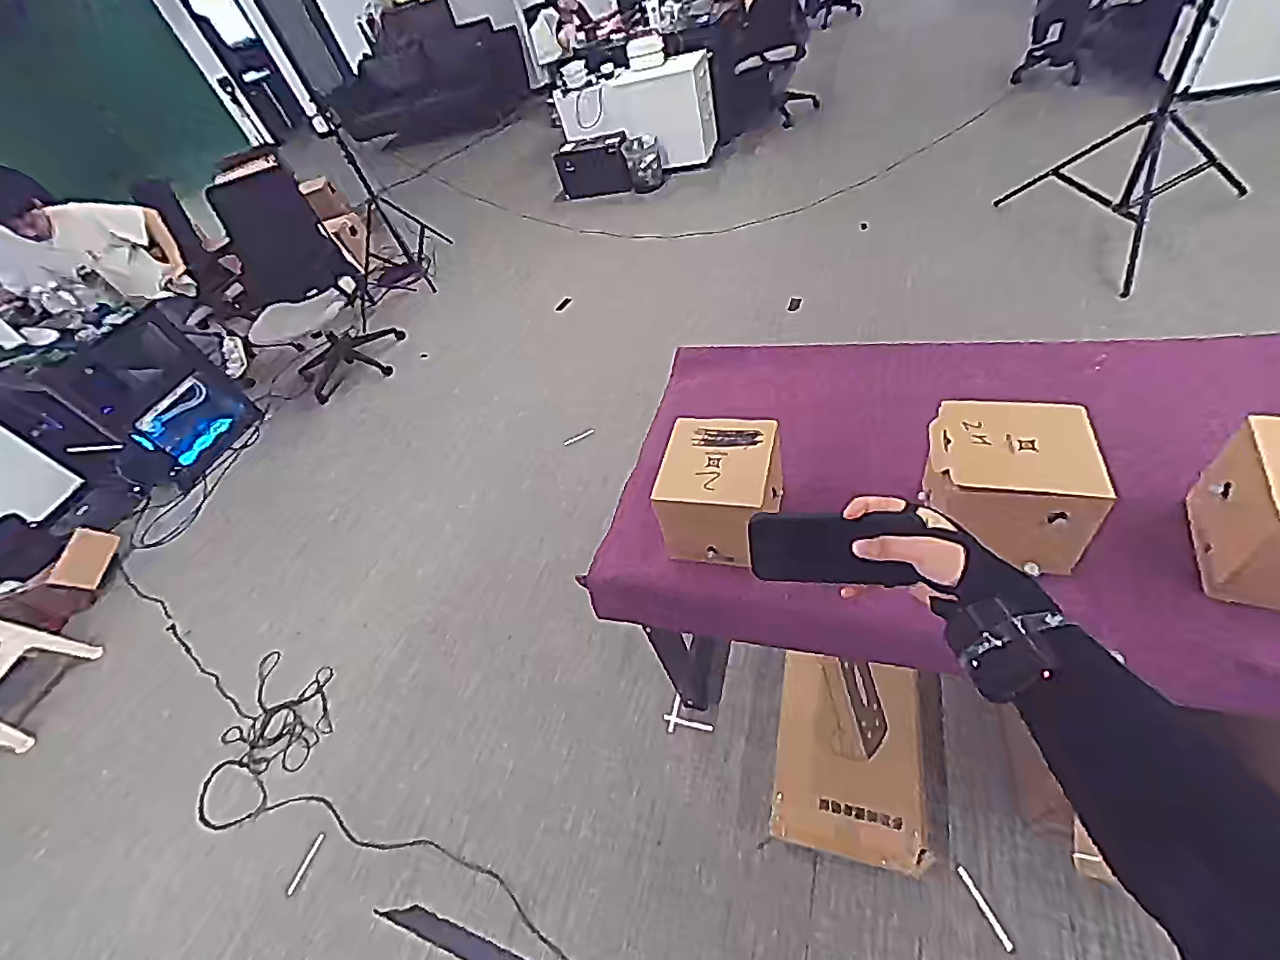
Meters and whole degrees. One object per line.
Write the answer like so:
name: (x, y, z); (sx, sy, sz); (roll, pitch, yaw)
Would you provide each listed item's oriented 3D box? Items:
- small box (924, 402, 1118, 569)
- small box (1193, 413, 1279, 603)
small box: (0.511, 0.008, 0.757); (0.179, 0.176, 0.168); (3, 49, 21)
small box: (0.802, 0.044, 0.632); (0.179, 0.176, 0.168); (9, 53, 25)
